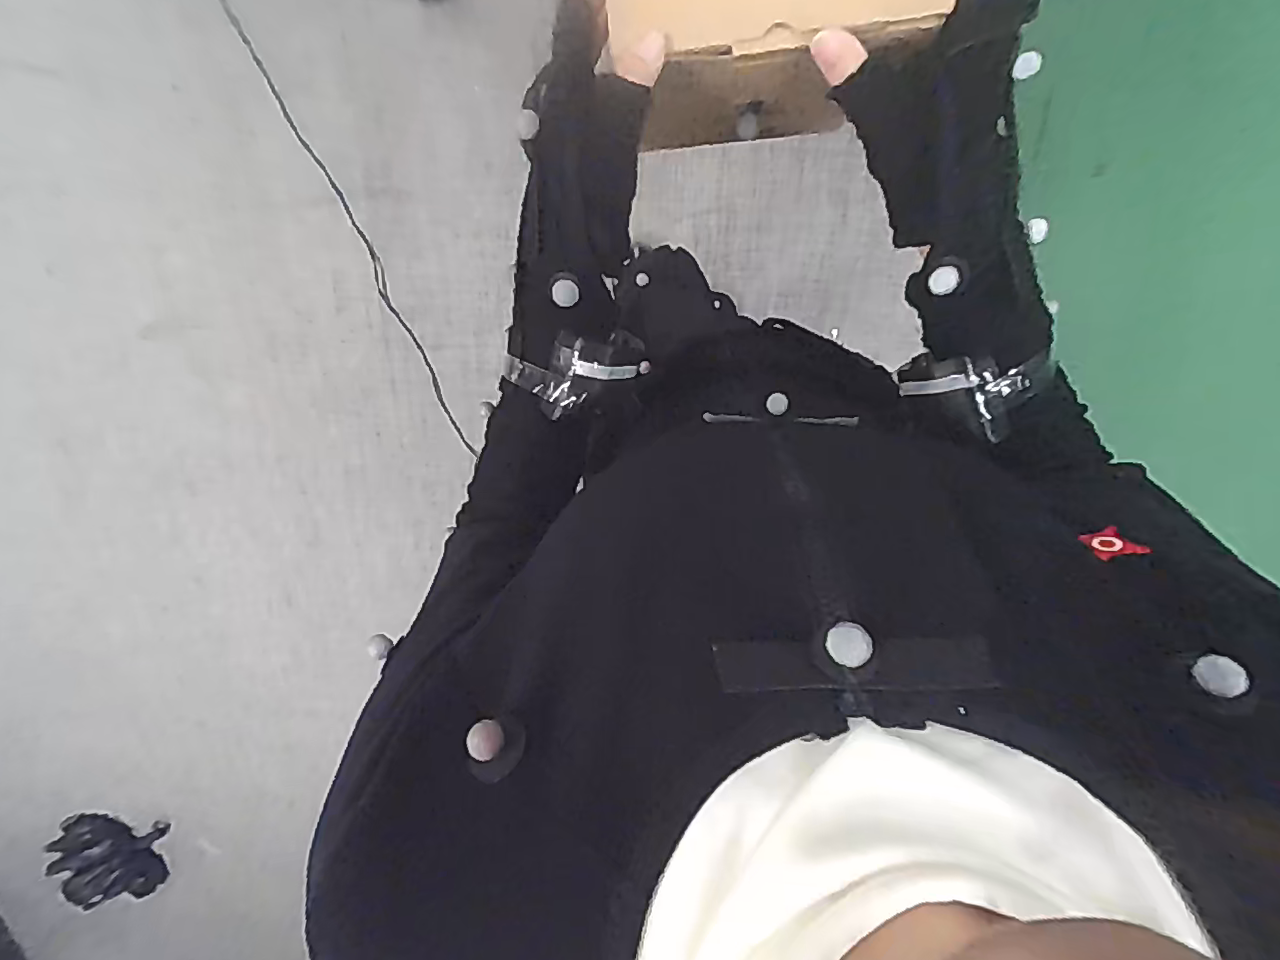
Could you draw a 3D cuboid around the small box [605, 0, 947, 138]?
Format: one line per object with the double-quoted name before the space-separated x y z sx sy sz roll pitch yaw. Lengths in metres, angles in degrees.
"small box" 0.062 -0.319 0.314 0.168 0.176 0.179 -5 109 3
